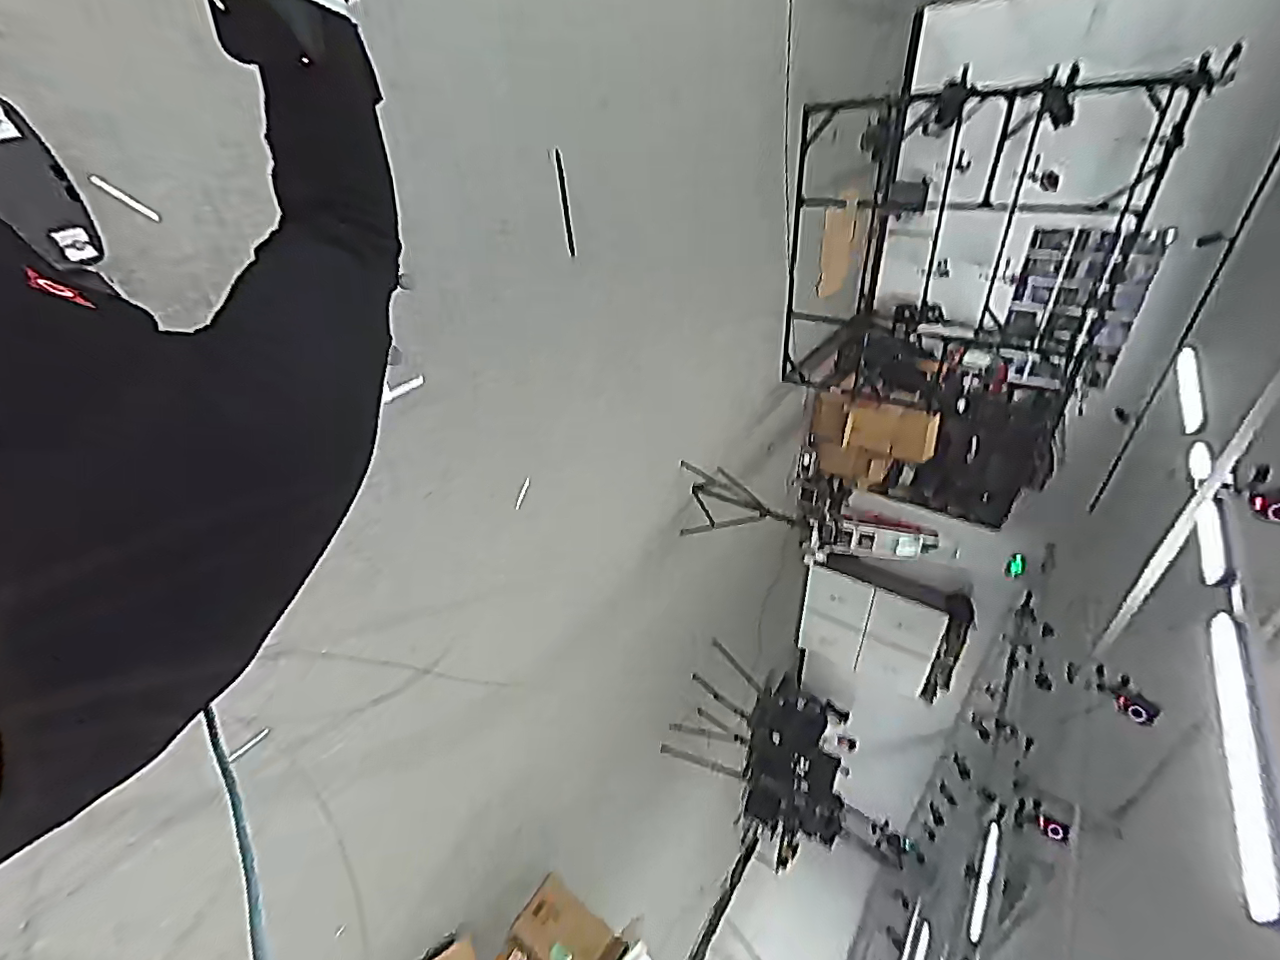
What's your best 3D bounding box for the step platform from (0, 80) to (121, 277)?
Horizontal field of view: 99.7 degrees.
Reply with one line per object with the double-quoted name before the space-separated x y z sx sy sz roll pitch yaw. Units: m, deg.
"step platform" -1.295 -0.434 0.855 0.684 0.204 0.286 -44 140 -38
